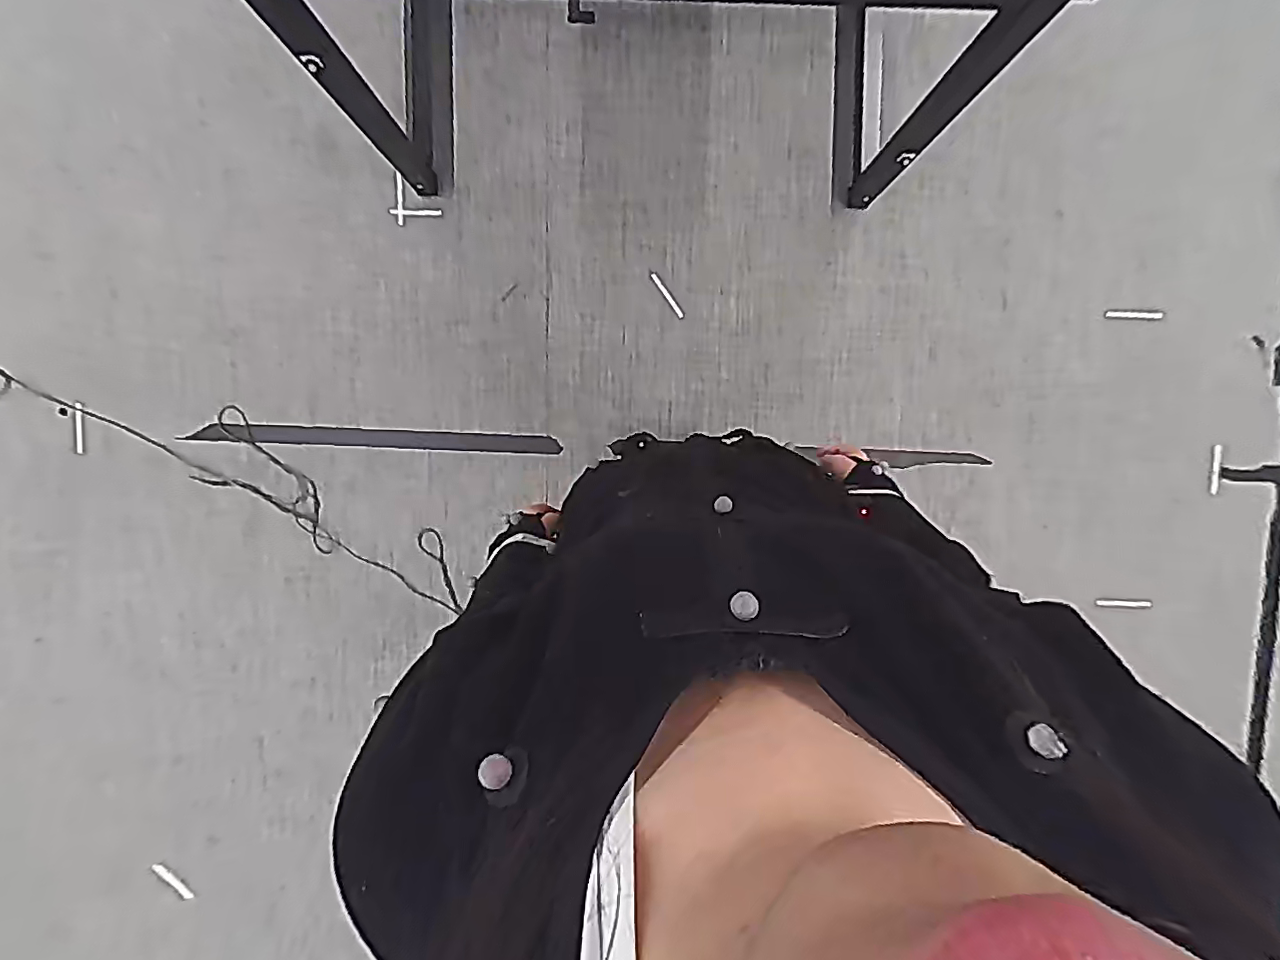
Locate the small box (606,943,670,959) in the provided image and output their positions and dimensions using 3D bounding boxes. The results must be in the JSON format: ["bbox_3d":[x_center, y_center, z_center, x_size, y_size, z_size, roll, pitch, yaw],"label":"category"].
[{"bbox_3d":[0.009,1.306,1.330,0.168,0.176,0.179,-12,94,-2],"label":"small box"}]

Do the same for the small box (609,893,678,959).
[{"bbox_3d":[0.012,1.287,1.494,0.168,0.176,0.179,-12,94,0],"label":"small box"}]
